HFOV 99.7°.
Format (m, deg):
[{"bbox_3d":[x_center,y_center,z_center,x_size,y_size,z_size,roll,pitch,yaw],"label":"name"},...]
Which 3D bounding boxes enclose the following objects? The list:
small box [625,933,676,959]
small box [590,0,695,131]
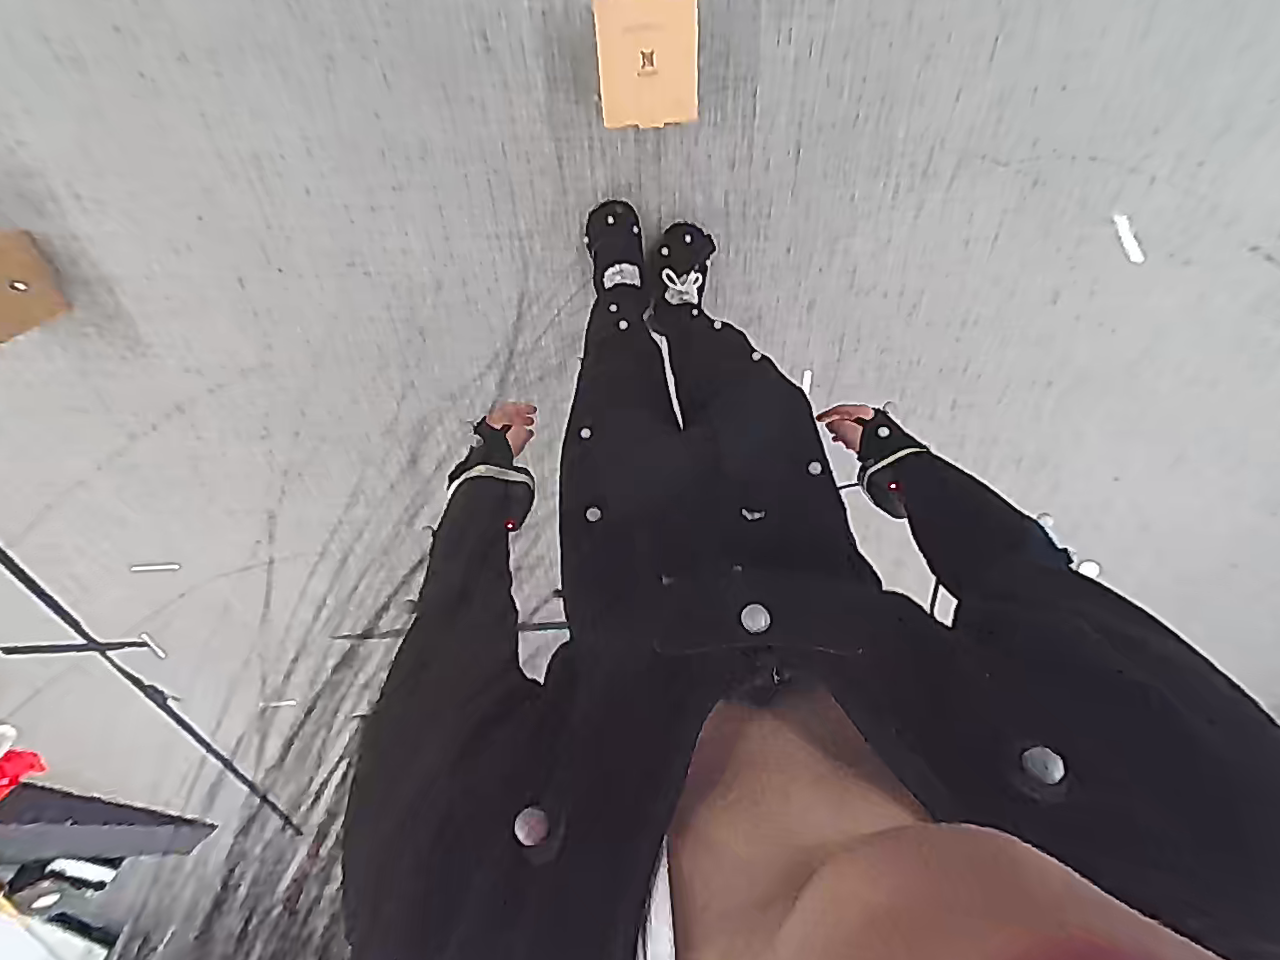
[{"bbox_3d":[0.040,1.718,1.898,0.179,0.176,0.168,-4,128,1],"label":"small box"},{"bbox_3d":[0.006,-0.731,0.952,0.168,0.176,0.179,-5,126,0],"label":"small box"}]
